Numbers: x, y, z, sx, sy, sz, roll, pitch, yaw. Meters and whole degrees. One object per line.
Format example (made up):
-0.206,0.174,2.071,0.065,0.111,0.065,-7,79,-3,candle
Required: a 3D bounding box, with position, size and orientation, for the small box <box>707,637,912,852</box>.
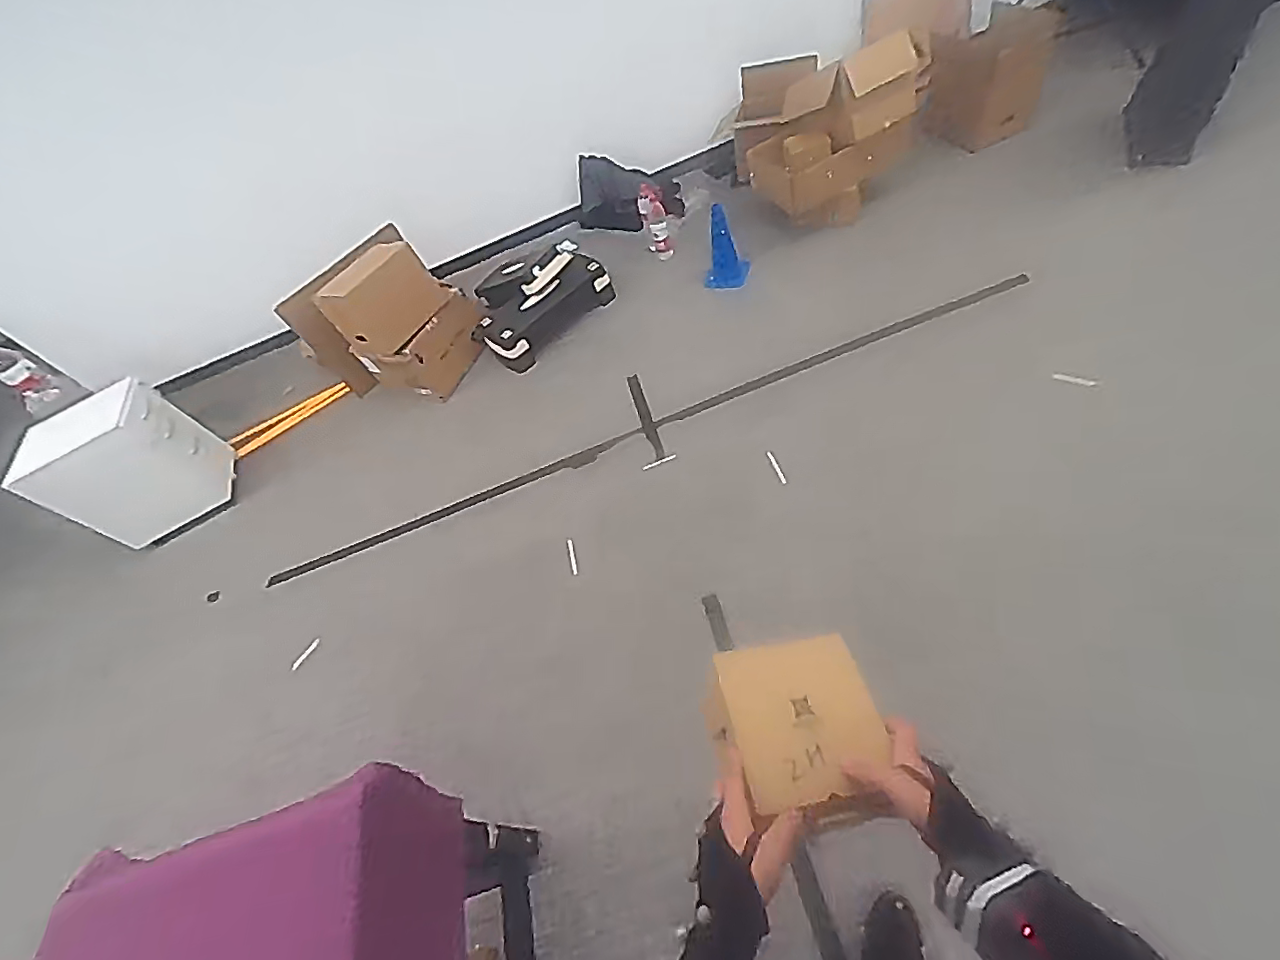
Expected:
0.183,0.318,0.652,0.168,0.176,0.179,-7,47,-6,small box
